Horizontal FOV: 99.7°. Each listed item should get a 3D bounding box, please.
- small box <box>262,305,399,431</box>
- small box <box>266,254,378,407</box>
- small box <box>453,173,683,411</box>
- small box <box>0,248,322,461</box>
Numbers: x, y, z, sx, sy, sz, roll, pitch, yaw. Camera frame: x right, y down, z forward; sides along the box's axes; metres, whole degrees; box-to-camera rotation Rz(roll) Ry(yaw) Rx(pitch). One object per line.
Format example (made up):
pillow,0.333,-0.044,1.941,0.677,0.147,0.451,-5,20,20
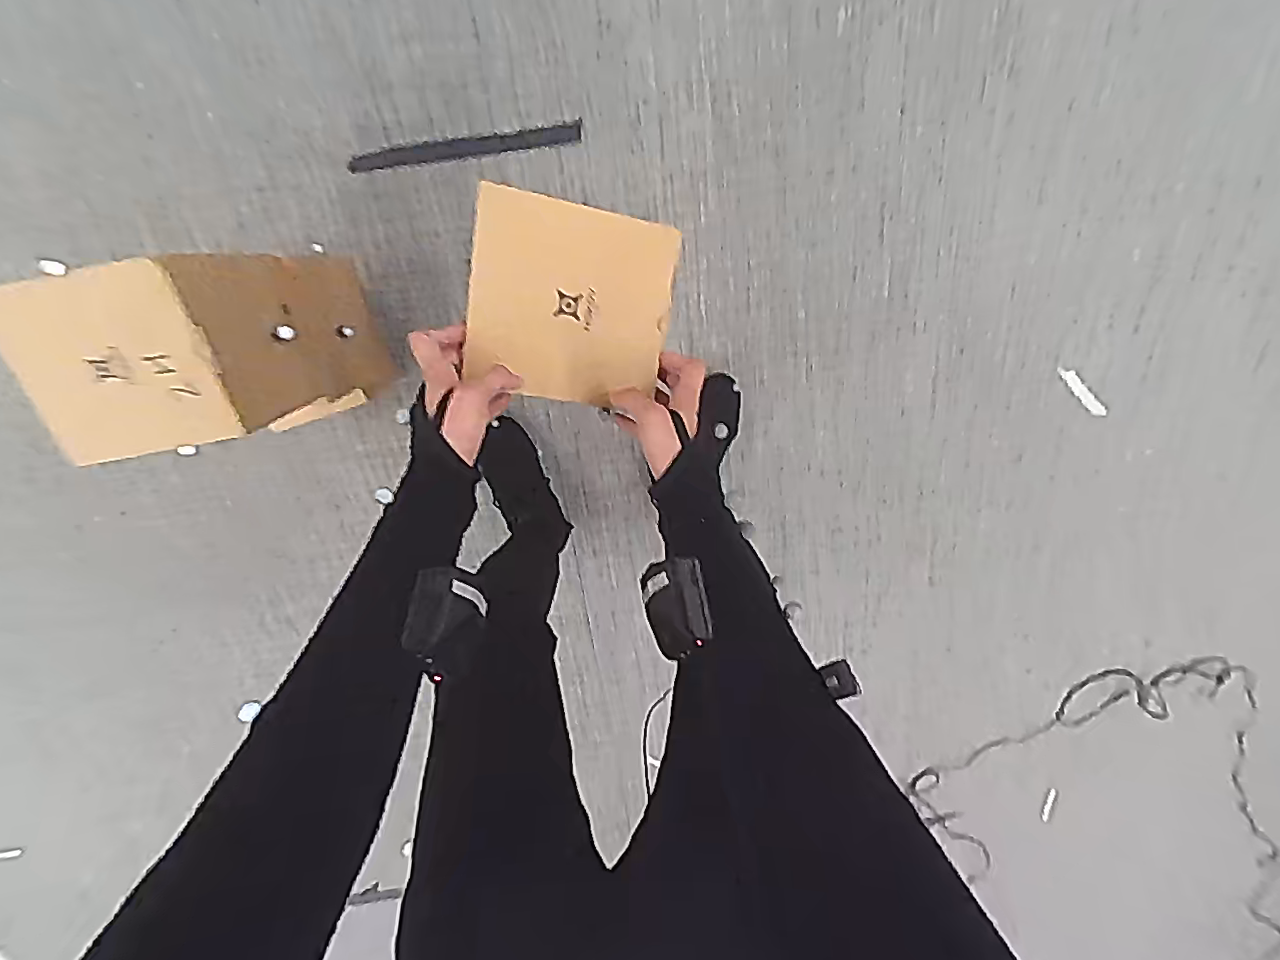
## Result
small box,-0.530,-0.205,0.882,0.168,0.176,0.179,-17,114,4
small box,-0.473,-0.200,0.710,0.168,0.176,0.179,-3,114,-2
small box,-0.079,-0.169,0.529,0.179,0.176,0.168,6,103,-17
small box,-0.478,-0.136,0.559,0.179,0.176,0.168,-11,113,1
